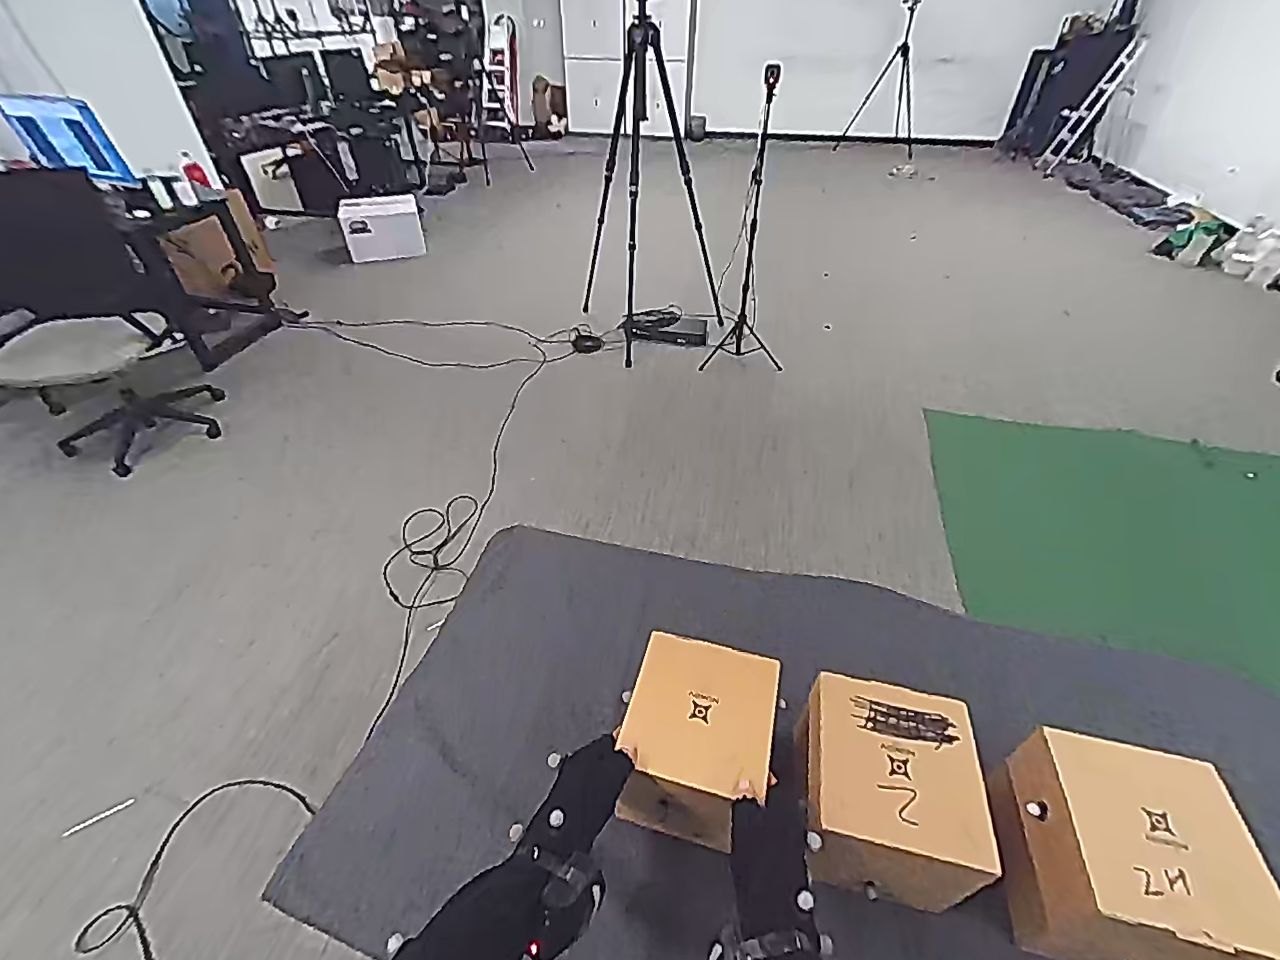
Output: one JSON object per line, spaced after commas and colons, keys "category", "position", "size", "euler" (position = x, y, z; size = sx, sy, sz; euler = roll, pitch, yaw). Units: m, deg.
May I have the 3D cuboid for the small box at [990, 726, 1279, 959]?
{"category": "small box", "position": [0.508, 0.404, 0.579], "size": [0.168, 0.176, 0.179], "euler": [9, 41, 12]}
